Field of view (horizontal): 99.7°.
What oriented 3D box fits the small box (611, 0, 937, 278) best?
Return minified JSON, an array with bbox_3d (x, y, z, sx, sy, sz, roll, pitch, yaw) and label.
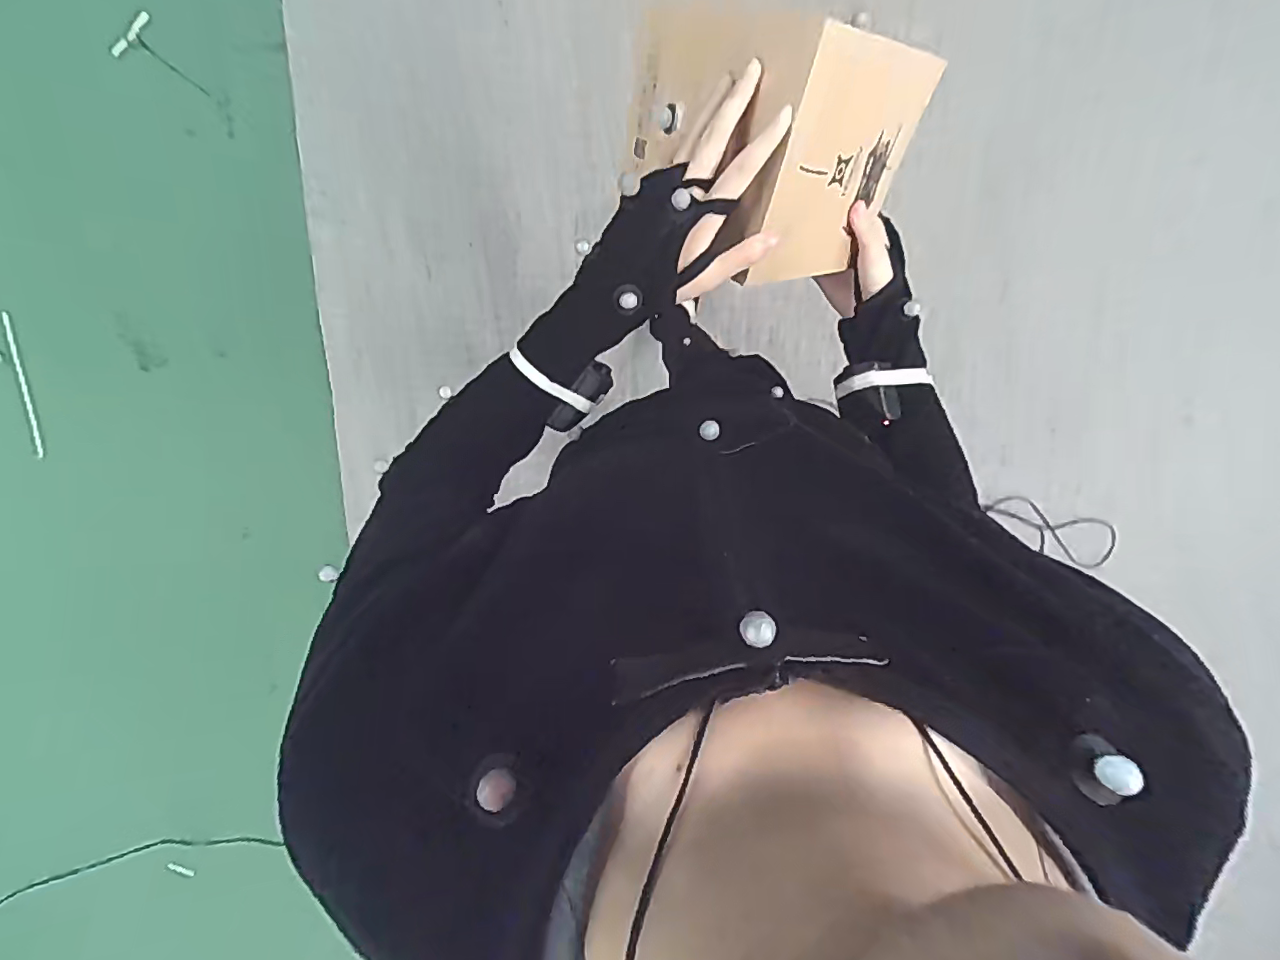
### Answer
[{"bbox_3d":[0.102,-0.292,0.463,0.179,0.176,0.168,-21,140,-35],"label":"small box"}]
